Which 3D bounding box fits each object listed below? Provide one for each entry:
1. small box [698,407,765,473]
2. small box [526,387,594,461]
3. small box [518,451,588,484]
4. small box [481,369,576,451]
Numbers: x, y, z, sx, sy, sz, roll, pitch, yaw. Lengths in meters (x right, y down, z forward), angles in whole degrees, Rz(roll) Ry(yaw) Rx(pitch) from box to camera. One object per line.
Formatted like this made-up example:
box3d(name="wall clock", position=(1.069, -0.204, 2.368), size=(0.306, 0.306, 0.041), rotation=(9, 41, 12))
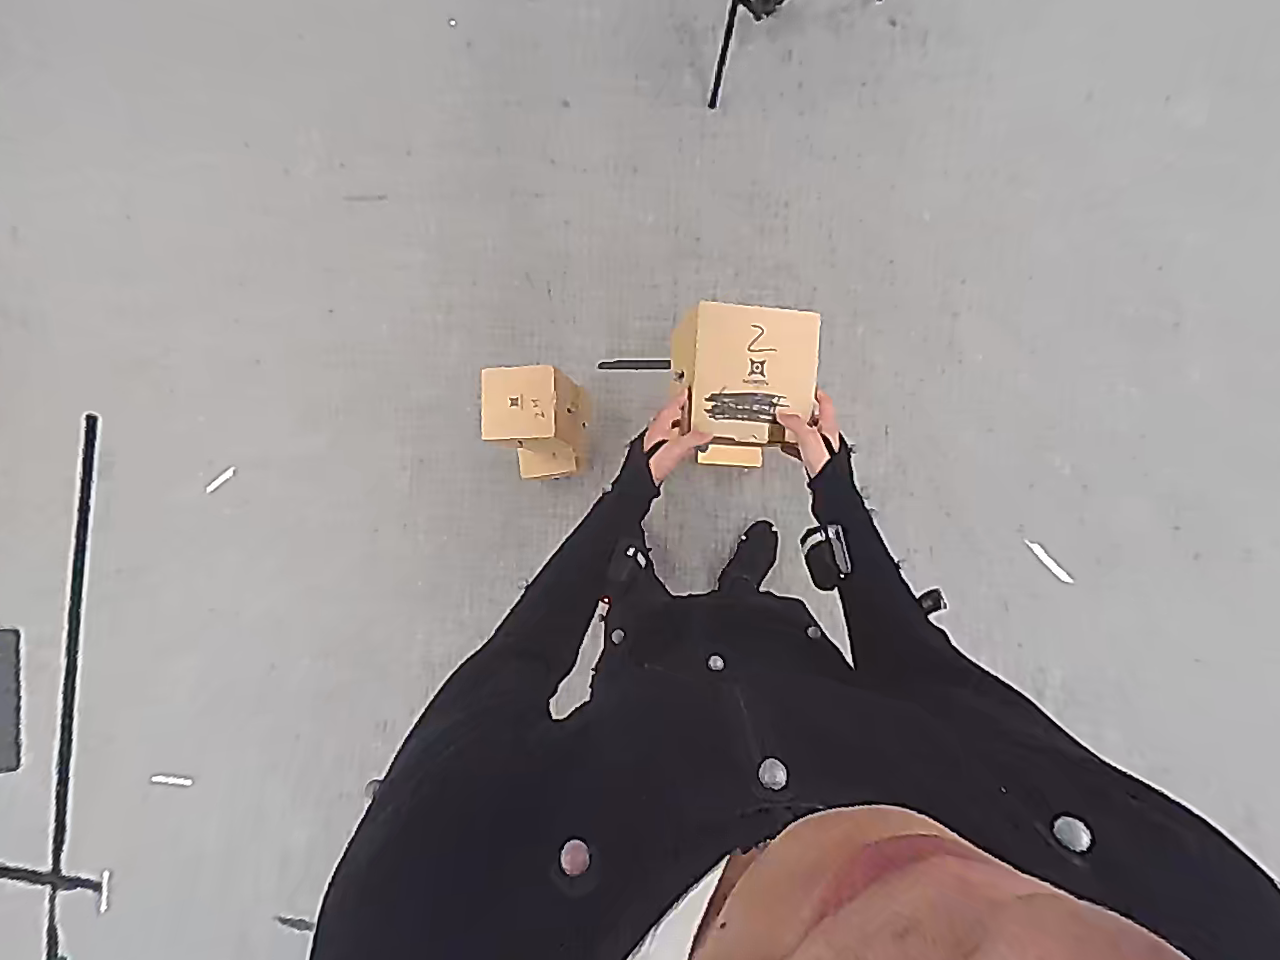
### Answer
box3d(name="small box", position=(0.258, -0.109, 1.549), size=(0.179, 0.176, 0.168), rotation=(3, 88, 6))
box3d(name="small box", position=(-0.224, -0.151, 1.446), size=(0.168, 0.176, 0.179), rotation=(6, 88, 8))
box3d(name="small box", position=(-0.258, -0.086, 1.611), size=(0.168, 0.176, 0.179), rotation=(-9, 87, 7))
box3d(name="small box", position=(-0.261, -0.160, 1.285), size=(0.179, 0.176, 0.168), rotation=(-1, 87, 8))
